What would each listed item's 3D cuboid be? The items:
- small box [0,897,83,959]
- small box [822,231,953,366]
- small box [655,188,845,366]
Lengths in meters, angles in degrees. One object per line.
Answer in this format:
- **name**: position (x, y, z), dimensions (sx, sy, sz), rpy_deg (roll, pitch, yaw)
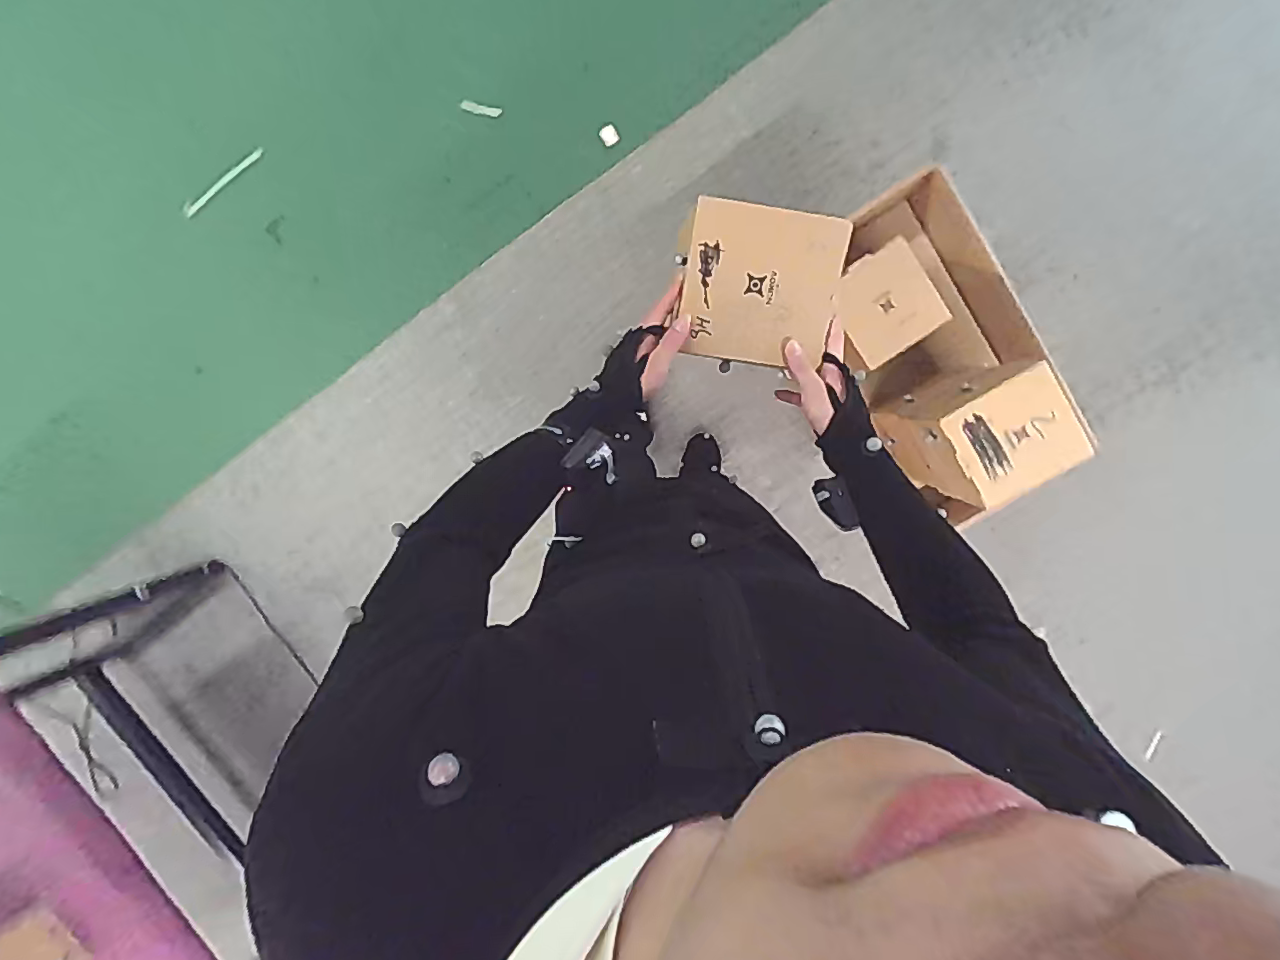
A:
- **small box**: position (-1.286, 0.992, 1.077), dimensions (0.179, 0.176, 0.168), rpy_deg (-35, 94, 10)
- **small box**: position (0.445, -0.333, 1.035), dimensions (0.168, 0.176, 0.179), rpy_deg (-33, 96, 9)
- **small box**: position (0.122, -0.240, 0.674), dimensions (0.179, 0.176, 0.168), rpy_deg (7, 103, -5)
